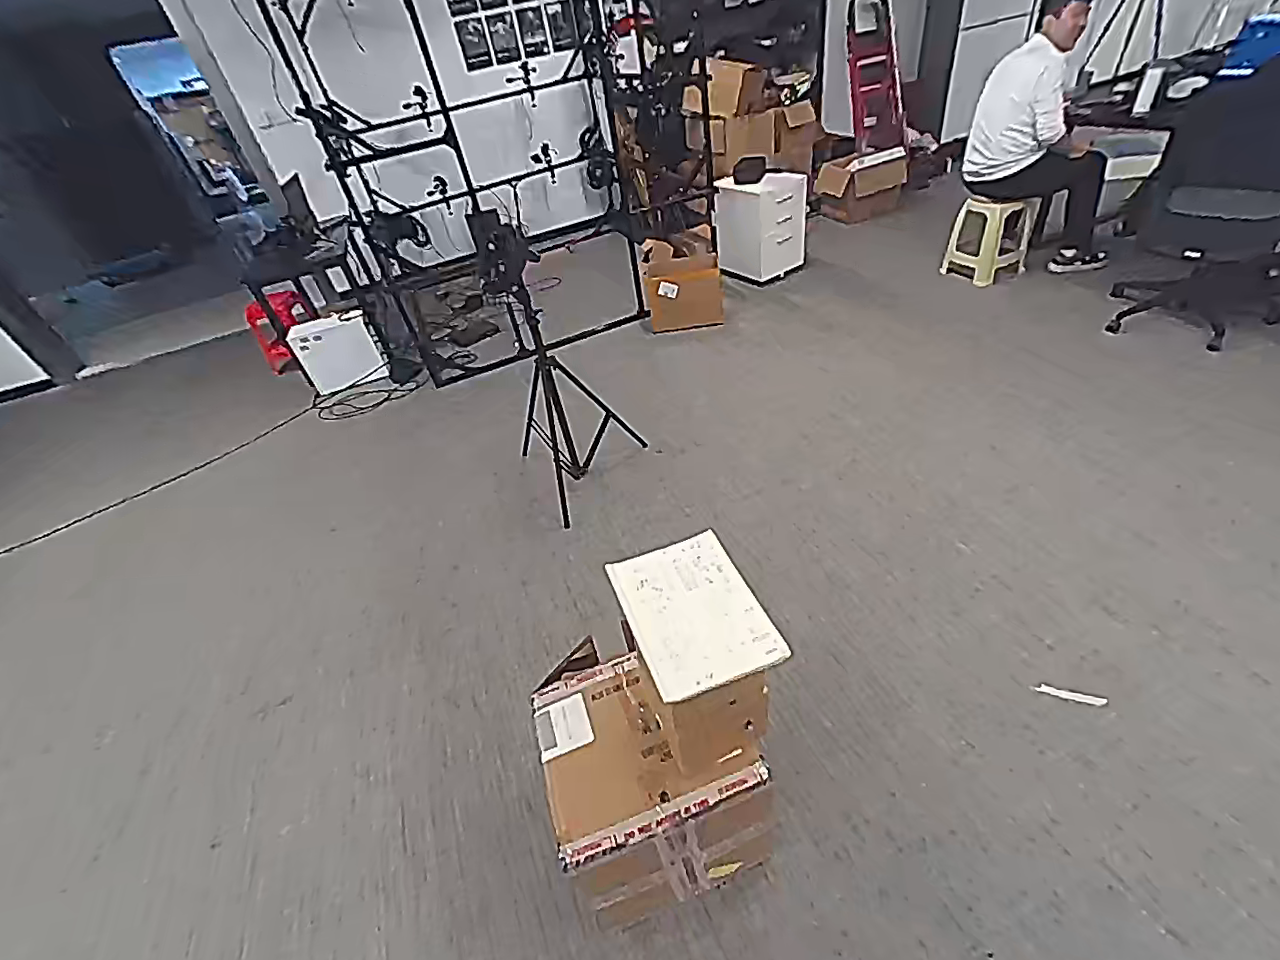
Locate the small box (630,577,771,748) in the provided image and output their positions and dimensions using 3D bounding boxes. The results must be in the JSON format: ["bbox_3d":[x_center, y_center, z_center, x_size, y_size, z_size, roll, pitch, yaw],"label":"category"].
[{"bbox_3d":[0.096,0.299,0.890,0.168,0.176,0.179,-20,41,-13],"label":"small box"}]

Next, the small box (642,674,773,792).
[{"bbox_3d":[0.122,0.426,0.989,0.179,0.176,0.168,-22,42,-14],"label":"small box"}]
